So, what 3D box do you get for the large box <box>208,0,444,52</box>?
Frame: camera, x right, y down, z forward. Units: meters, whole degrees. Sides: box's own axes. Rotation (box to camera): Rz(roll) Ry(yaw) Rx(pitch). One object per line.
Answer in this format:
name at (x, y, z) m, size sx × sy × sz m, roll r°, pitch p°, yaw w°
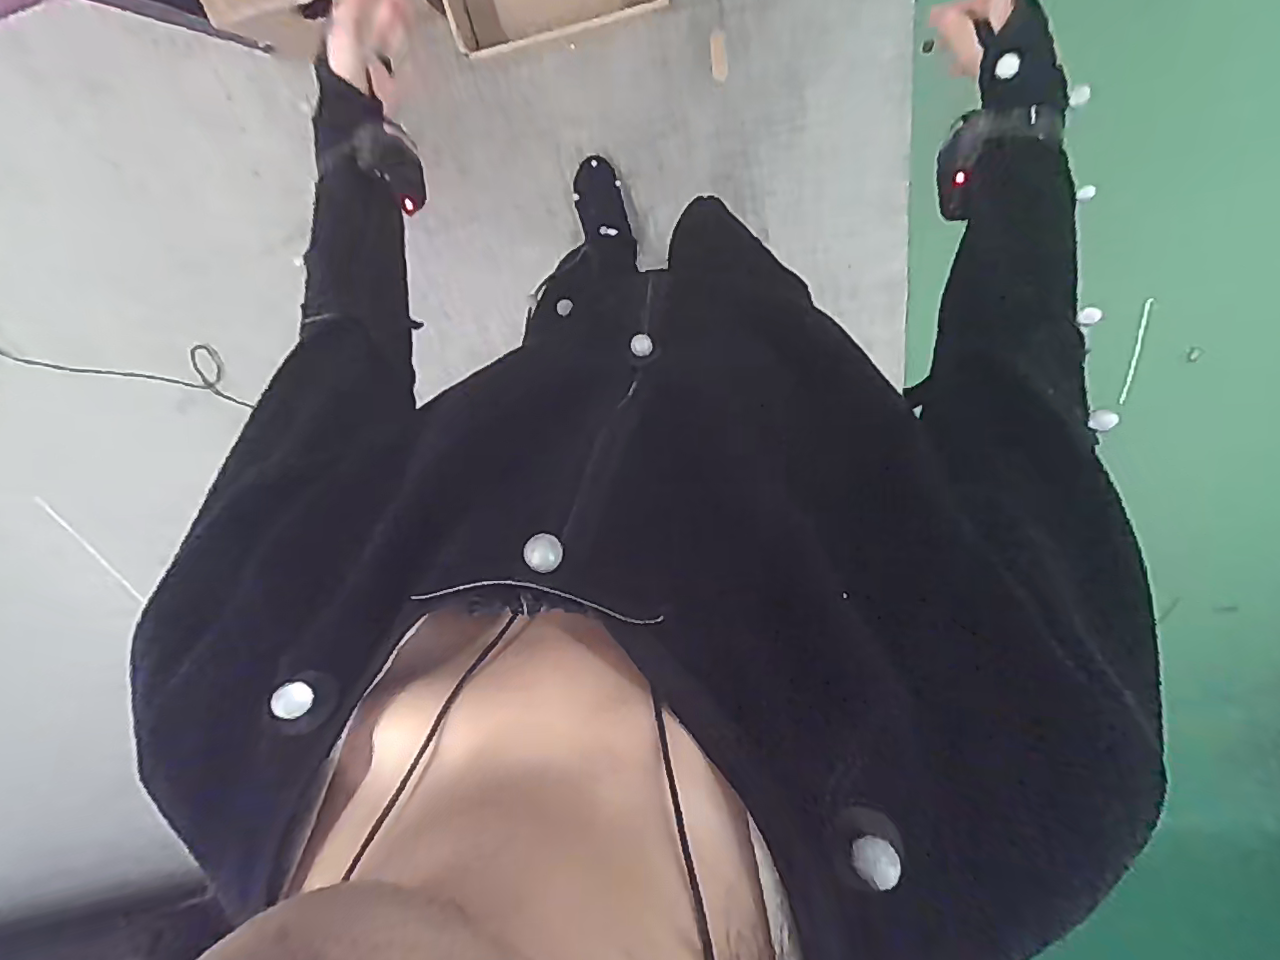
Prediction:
large box at (-0.565, -0.981, 0.853) m, size 0.320 × 0.320 × 0.408 m, roll -13°, pitch 122°, yaw 4°
